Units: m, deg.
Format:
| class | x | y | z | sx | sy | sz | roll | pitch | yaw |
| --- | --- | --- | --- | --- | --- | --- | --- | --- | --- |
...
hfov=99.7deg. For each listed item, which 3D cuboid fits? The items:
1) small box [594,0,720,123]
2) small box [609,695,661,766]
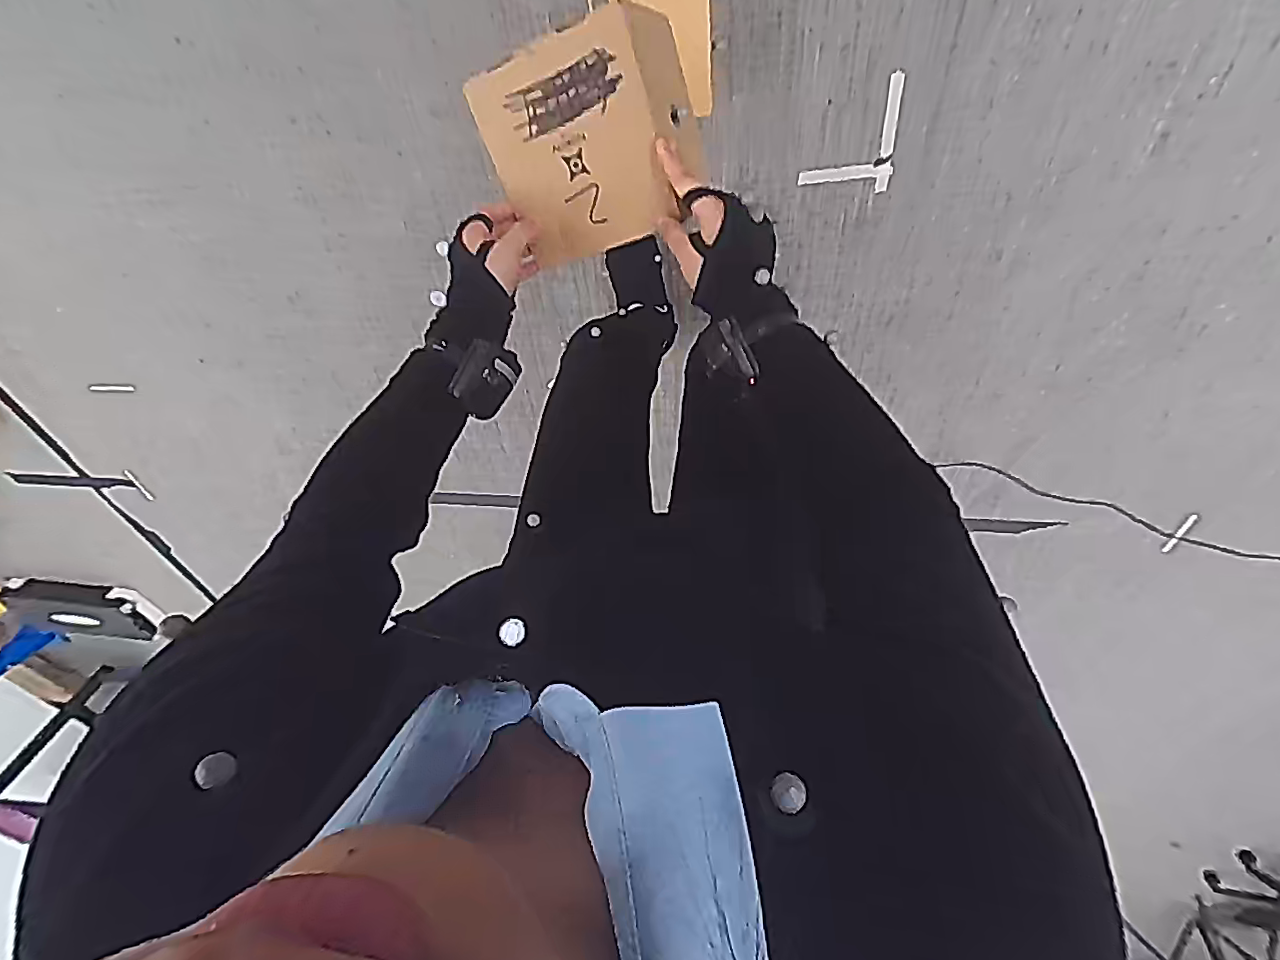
| class | x | y | z | sx | sy | sz | roll | pitch | yaw |
| --- | --- | --- | --- | --- | --- | --- | --- | --- | --- |
| small box | 0.033 | -0.657 | 0.808 | 0.168 | 0.176 | 0.179 | 0 | 132 | 10 |
| small box | -0.012 | 0.907 | 1.959 | 0.168 | 0.176 | 0.179 | 3 | 132 | 6 |
